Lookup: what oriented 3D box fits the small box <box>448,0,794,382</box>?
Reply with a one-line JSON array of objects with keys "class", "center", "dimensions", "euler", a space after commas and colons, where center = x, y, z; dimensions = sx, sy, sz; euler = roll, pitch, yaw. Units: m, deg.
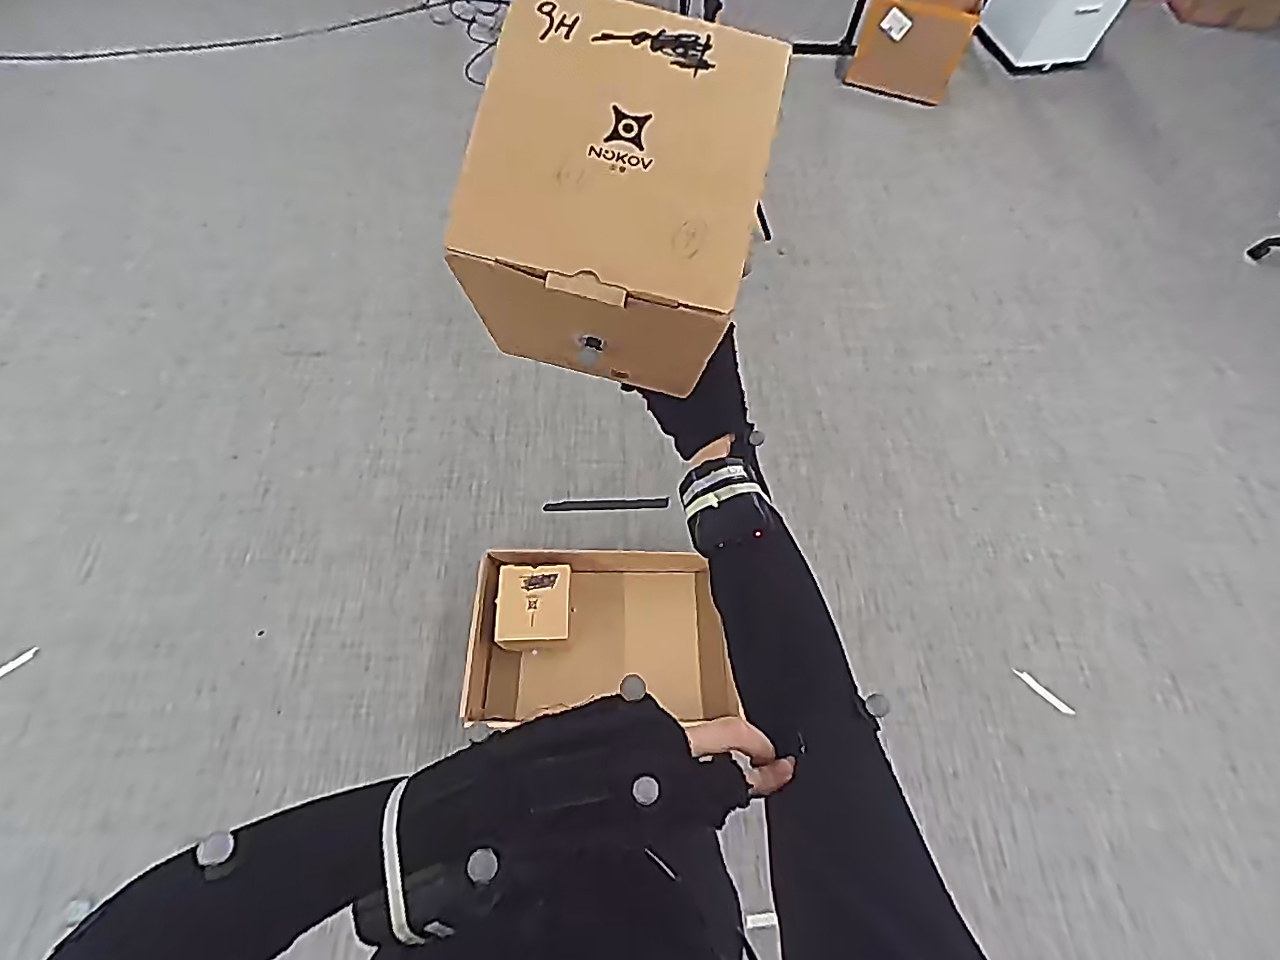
[{"class": "small box", "center": [-0.011, -0.184, 0.384], "dimensions": [0.168, 0.176, 0.179], "euler": [13, 84, -1]}]
